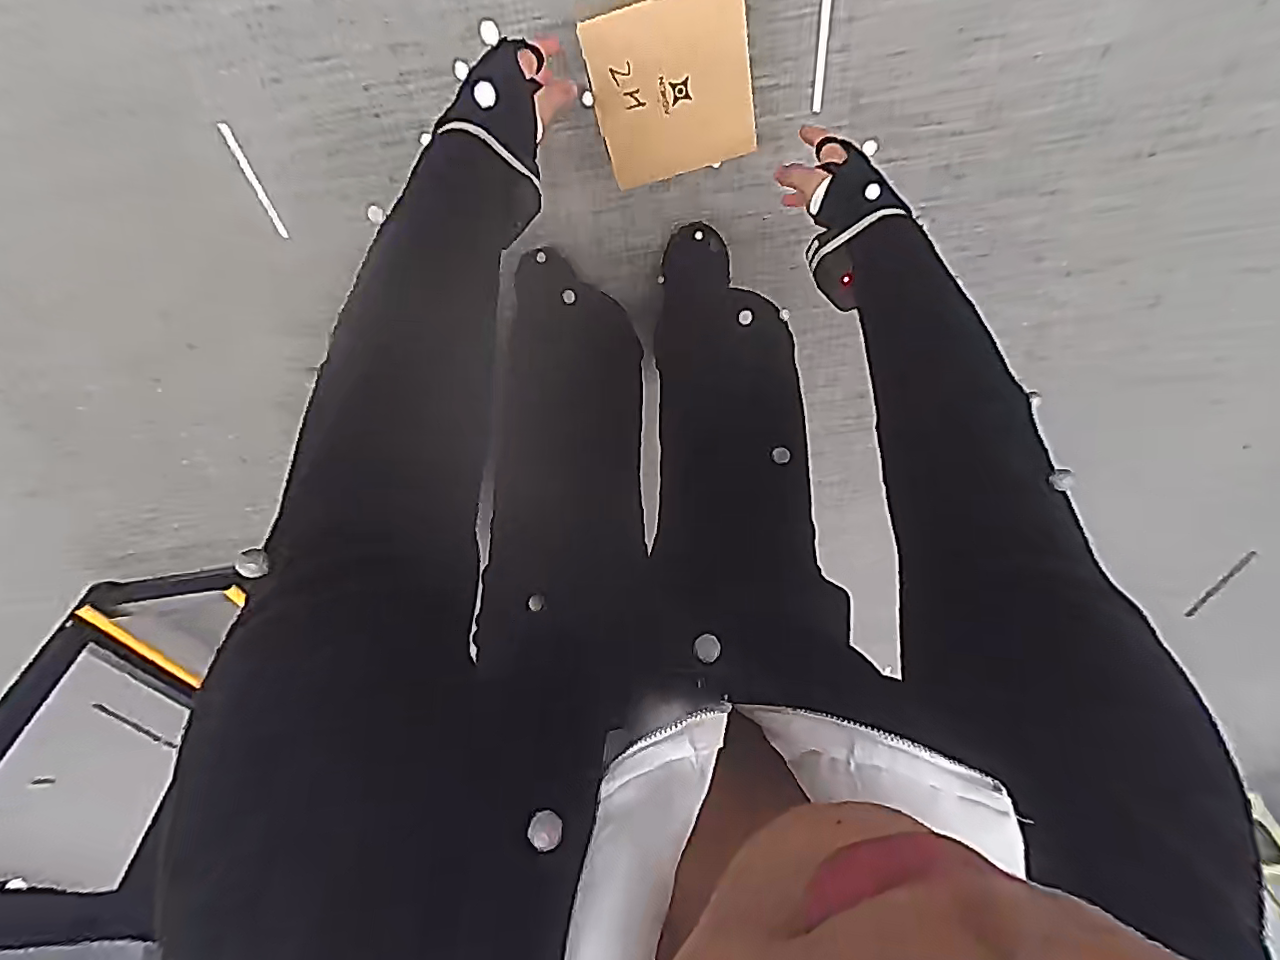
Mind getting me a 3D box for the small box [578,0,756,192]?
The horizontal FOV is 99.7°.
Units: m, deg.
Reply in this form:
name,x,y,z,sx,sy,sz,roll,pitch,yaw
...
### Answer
name,x,y,z,sx,sy,sz,roll,pitch,yaw
small box,0.029,-0.481,0.653,0.179,0.176,0.168,-13,134,7
